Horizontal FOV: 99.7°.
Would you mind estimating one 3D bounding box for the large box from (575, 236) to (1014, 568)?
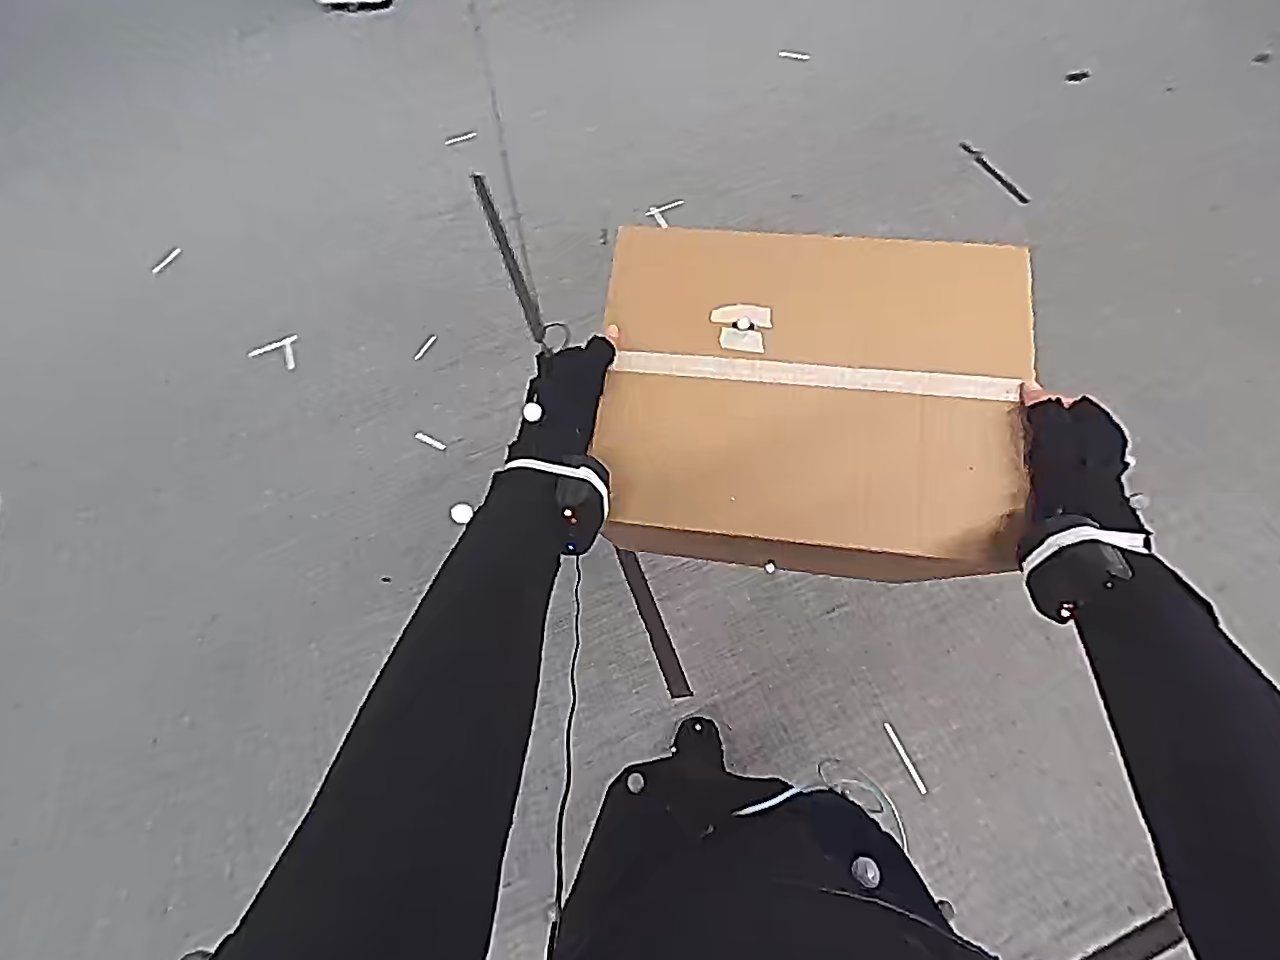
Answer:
[{"bbox_3d":[0.166,-0.068,0.672,0.408,0.320,0.320,6,77,7],"label":"large box"}]
